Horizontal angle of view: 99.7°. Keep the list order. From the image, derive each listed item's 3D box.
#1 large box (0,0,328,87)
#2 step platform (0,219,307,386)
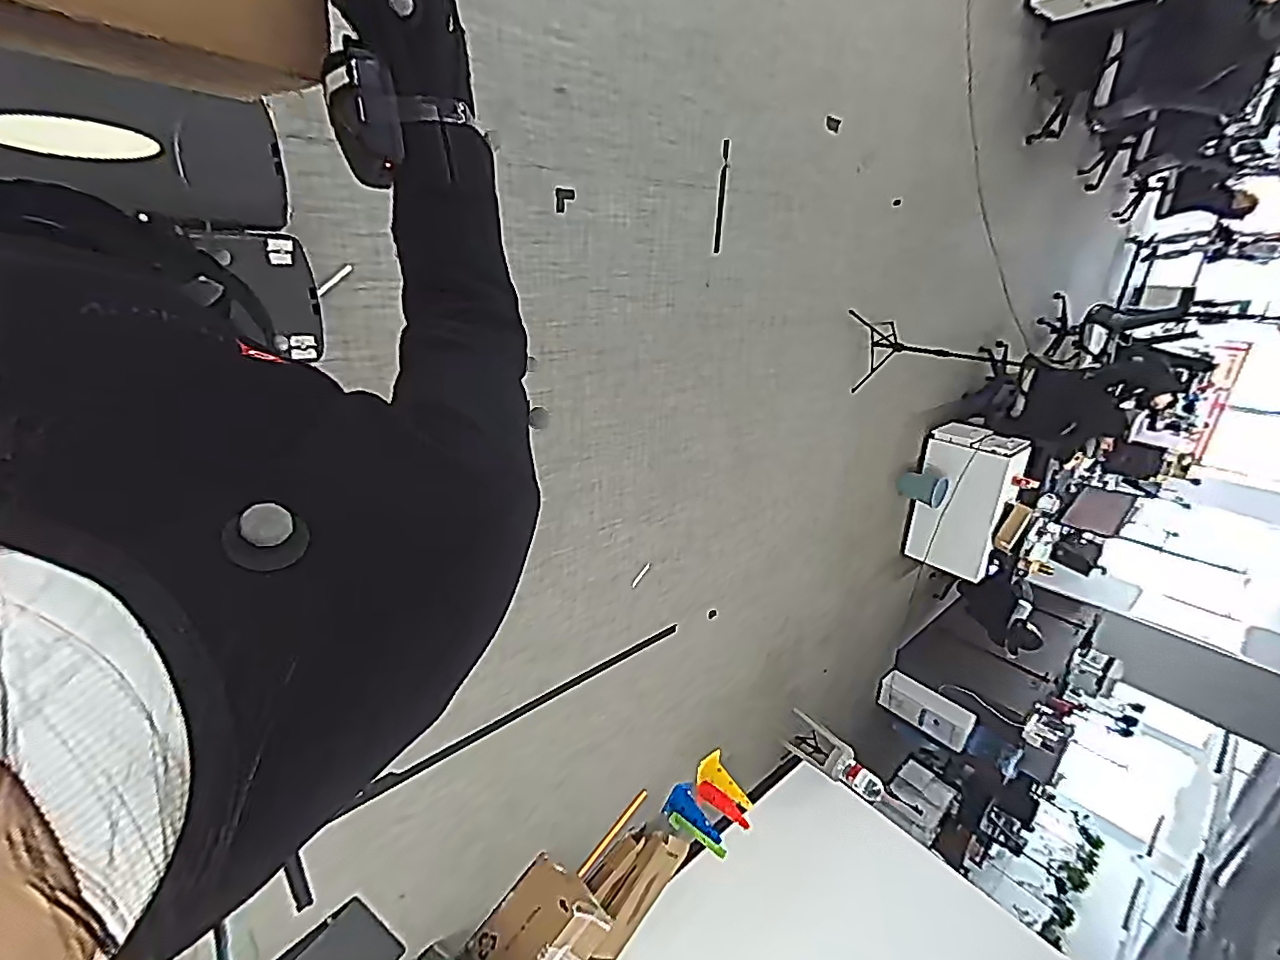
[{"bbox_3d":[-0.429,-0.429,0.261,0.408,0.320,0.320,-13,125,-40],"label":"large box"},{"bbox_3d":[-1.068,-0.358,1.079,0.684,0.204,0.286,-16,118,-35],"label":"step platform"}]
